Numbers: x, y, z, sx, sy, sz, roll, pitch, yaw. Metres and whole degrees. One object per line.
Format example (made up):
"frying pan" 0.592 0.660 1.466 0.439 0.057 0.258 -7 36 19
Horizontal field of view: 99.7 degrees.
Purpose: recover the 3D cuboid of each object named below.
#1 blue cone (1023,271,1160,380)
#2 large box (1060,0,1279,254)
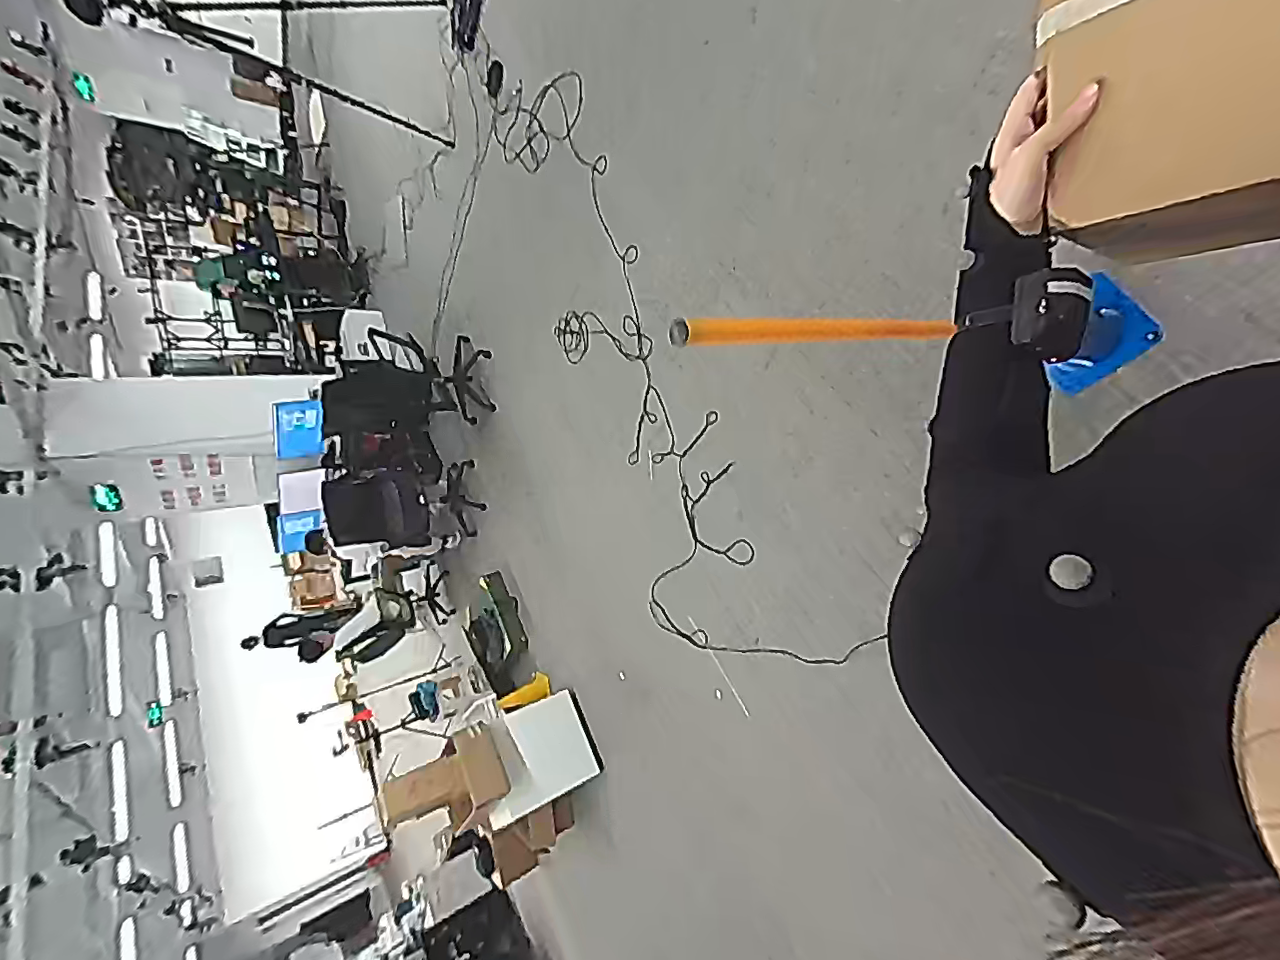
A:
"blue cone" 0.856 -0.317 1.094 0.192 0.380 0.193 -47 62 45
"large box" 0.564 -0.383 0.369 0.408 0.320 0.320 3 102 48
